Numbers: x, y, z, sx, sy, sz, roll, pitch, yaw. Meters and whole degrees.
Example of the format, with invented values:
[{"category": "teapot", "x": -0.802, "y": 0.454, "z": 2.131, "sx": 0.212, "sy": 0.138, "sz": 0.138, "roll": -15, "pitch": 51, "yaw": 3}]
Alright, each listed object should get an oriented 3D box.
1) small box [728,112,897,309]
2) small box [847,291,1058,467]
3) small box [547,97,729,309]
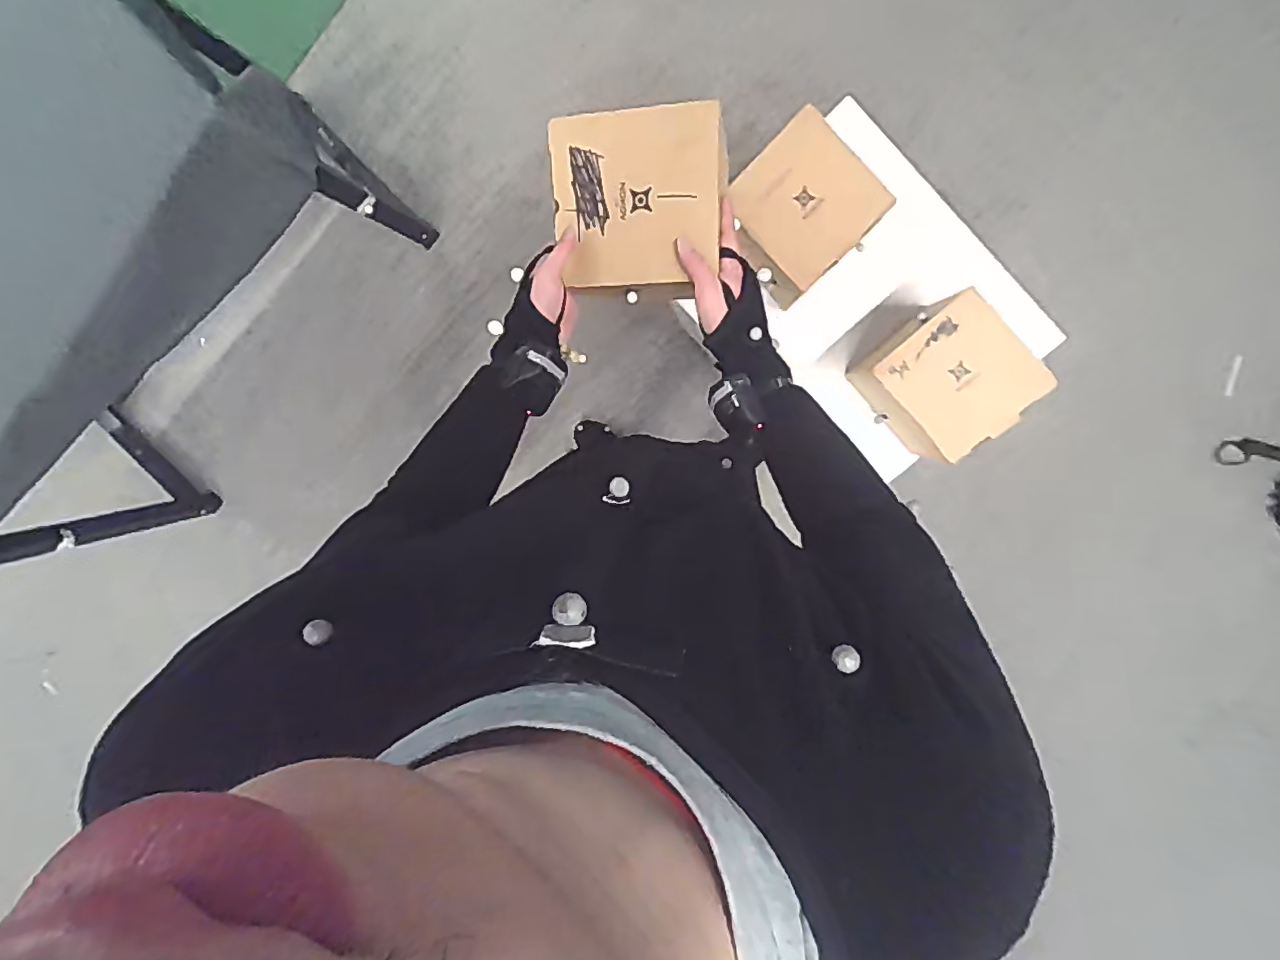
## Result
[{"category": "small box", "x": 0.226, "y": -0.371, "z": 0.788, "sx": 0.179, "sy": 0.176, "sz": 0.168, "roll": 44, "pitch": 98, "yaw": -2}, {"category": "small box", "x": 0.443, "y": -0.145, "z": 0.798, "sx": 0.168, "sy": 0.176, "sz": 0.179, "roll": -42, "pitch": 92, "yaw": 9}, {"category": "small box", "x": 0.010, "y": -0.290, "z": 0.607, "sx": 0.179, "sy": 0.176, "sz": 0.168, "roll": -1, "pitch": 102, "yaw": 9}]
